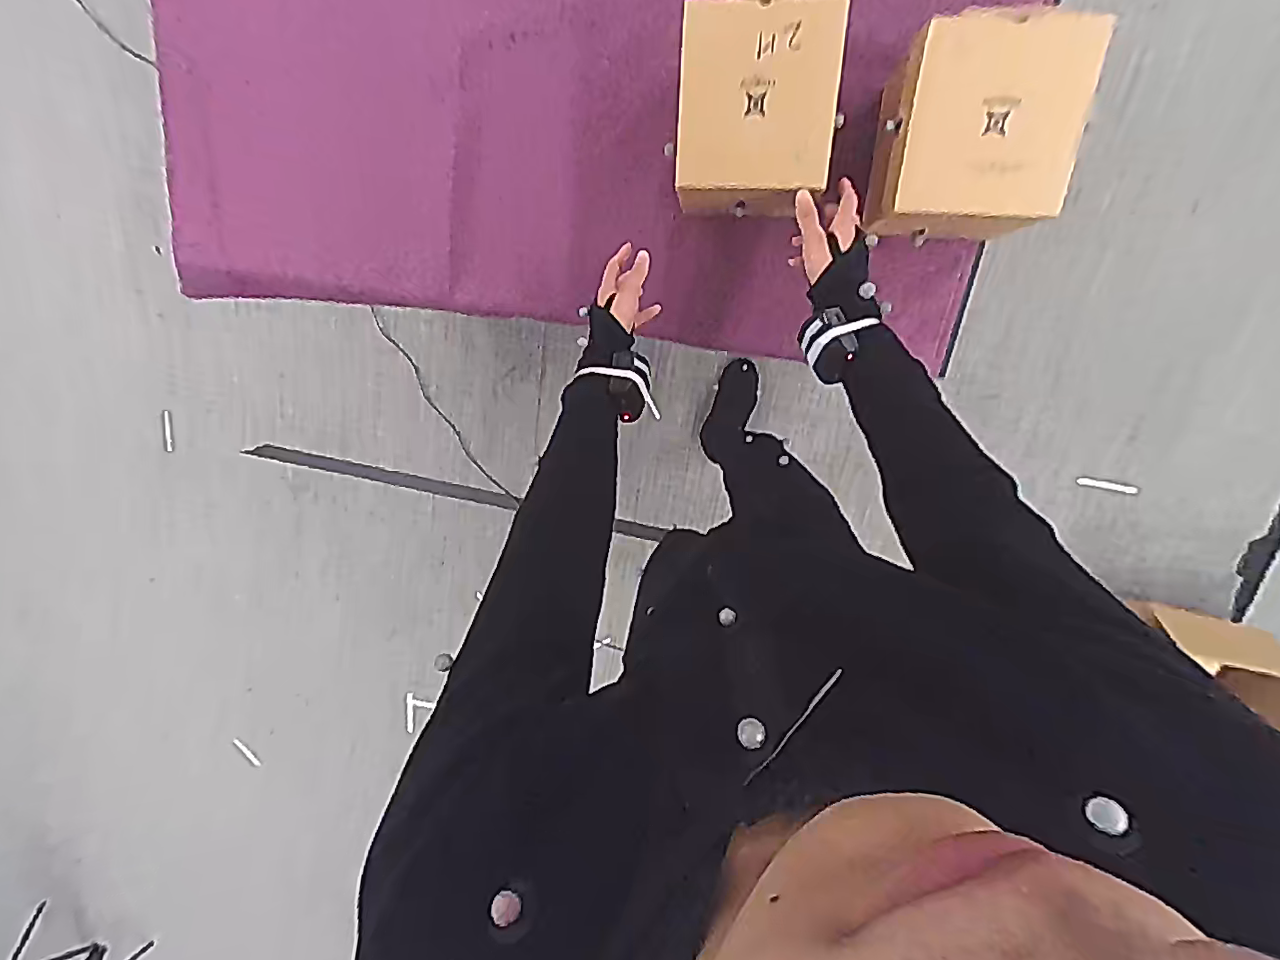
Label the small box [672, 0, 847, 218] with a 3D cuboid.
[{"bbox_3d":[0.132,-0.420,0.644,0.168,0.176,0.179,5,107,7],"label":"small box"}]

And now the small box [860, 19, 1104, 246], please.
[{"bbox_3d":[0.367,-0.381,0.621,0.168,0.176,0.179,7,106,8],"label":"small box"}]
